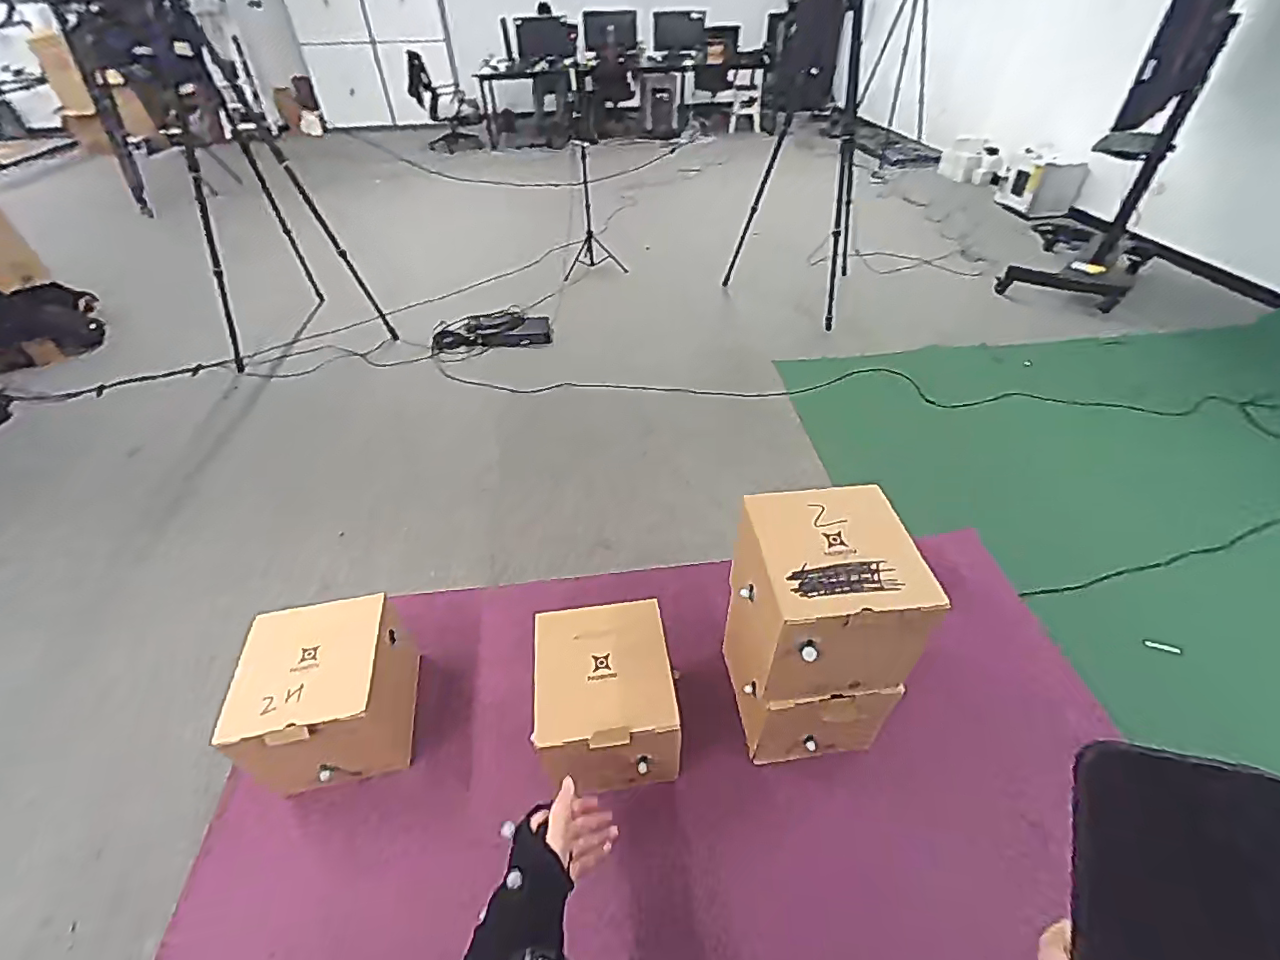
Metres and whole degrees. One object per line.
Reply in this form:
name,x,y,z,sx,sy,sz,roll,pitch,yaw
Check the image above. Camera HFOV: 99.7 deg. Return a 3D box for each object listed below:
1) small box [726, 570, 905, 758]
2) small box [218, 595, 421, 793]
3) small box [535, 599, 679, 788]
small box,0.220,0.250,0.738,0.168,0.176,0.179,-7,44,-4
small box,-0.406,0.286,0.726,0.168,0.176,0.179,-9,44,-7
small box,-0.042,0.285,0.713,0.168,0.176,0.179,-6,43,-5
